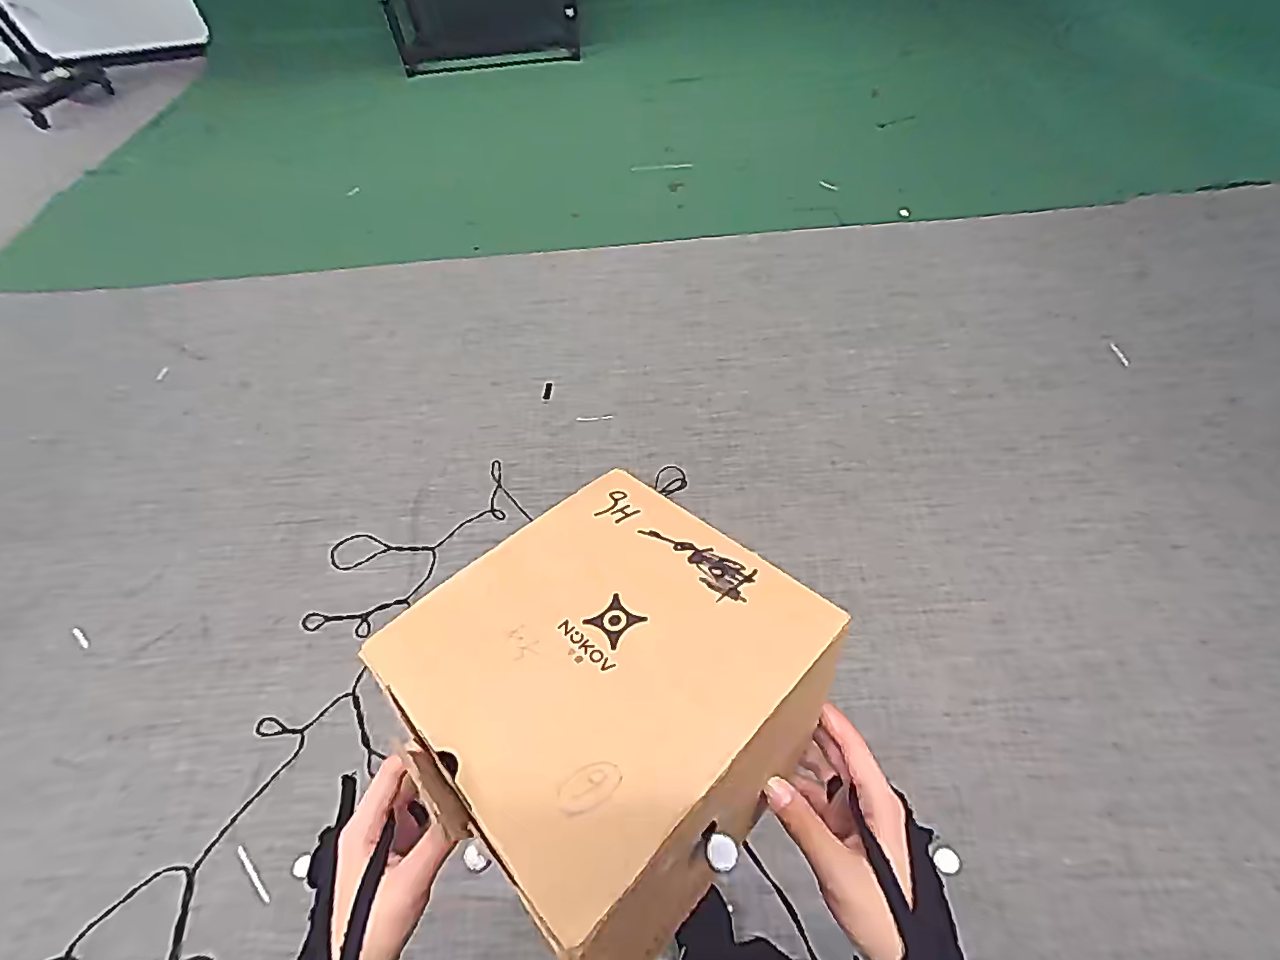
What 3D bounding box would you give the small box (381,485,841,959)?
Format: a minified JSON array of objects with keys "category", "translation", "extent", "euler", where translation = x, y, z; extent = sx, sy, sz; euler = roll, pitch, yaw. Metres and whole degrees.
[{"category":"small box","translation":[-0.009,0.142,0.321],"extent":[0.179,0.176,0.168],"euler":[-36,51,-29]}]
